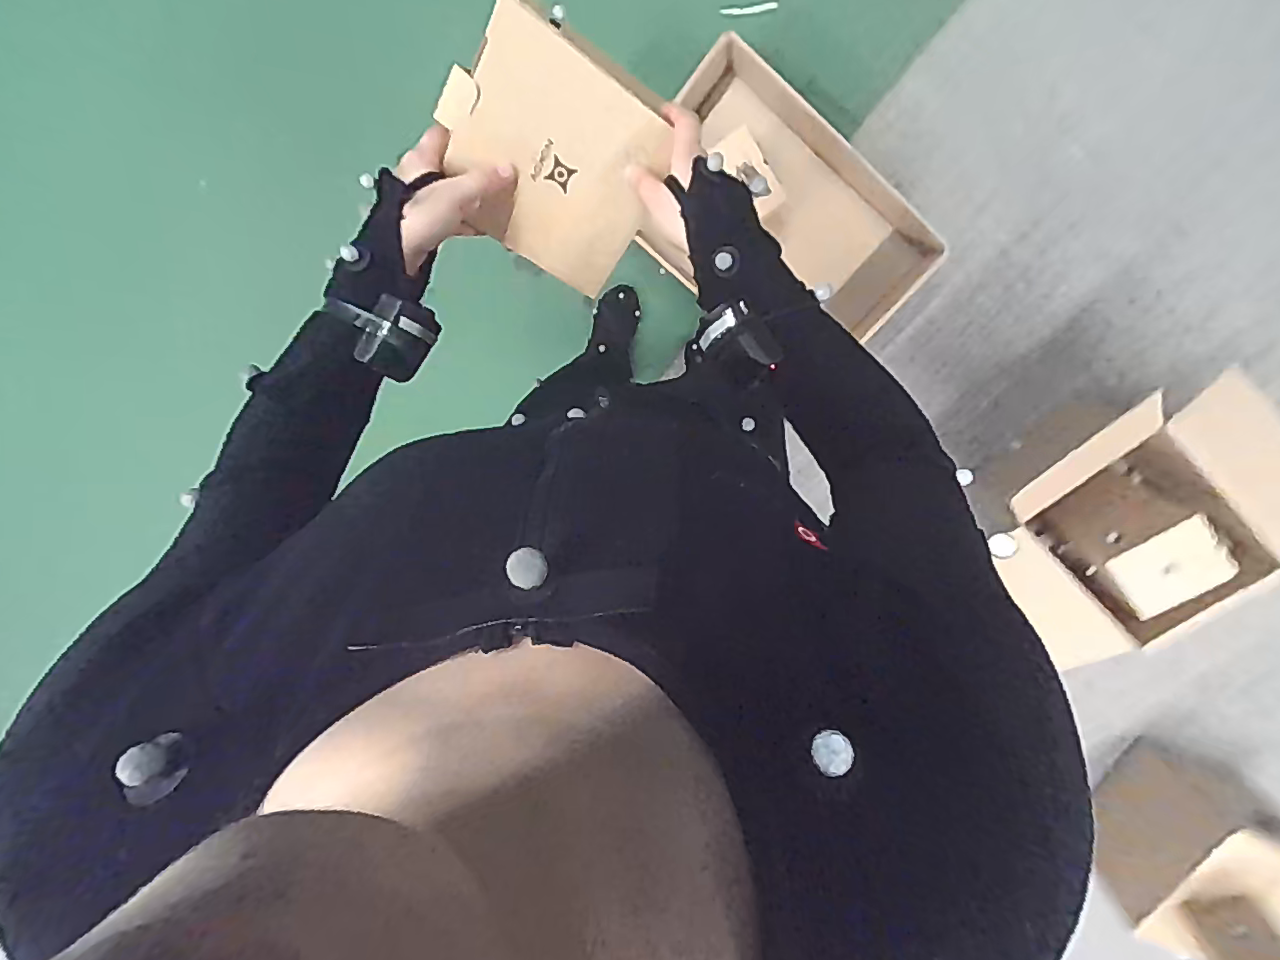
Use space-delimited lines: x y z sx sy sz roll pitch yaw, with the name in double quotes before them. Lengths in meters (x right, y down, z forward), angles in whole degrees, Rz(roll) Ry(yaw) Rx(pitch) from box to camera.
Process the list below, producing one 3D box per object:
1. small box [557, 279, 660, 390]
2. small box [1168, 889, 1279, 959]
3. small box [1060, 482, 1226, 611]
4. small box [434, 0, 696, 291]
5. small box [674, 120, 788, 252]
"small box" -0.068 -0.349 1.298 0.179 0.168 0.176 -31 132 -8
"small box" 1.424 1.118 1.287 0.168 0.176 0.179 -26 101 16
"small box" 1.039 0.134 1.140 0.179 0.176 0.168 -38 103 17
"small box" -0.070 -0.325 0.524 0.179 0.176 0.168 24 126 -22
"small box" 0.188 -0.612 1.150 0.179 0.176 0.168 -32 102 15
